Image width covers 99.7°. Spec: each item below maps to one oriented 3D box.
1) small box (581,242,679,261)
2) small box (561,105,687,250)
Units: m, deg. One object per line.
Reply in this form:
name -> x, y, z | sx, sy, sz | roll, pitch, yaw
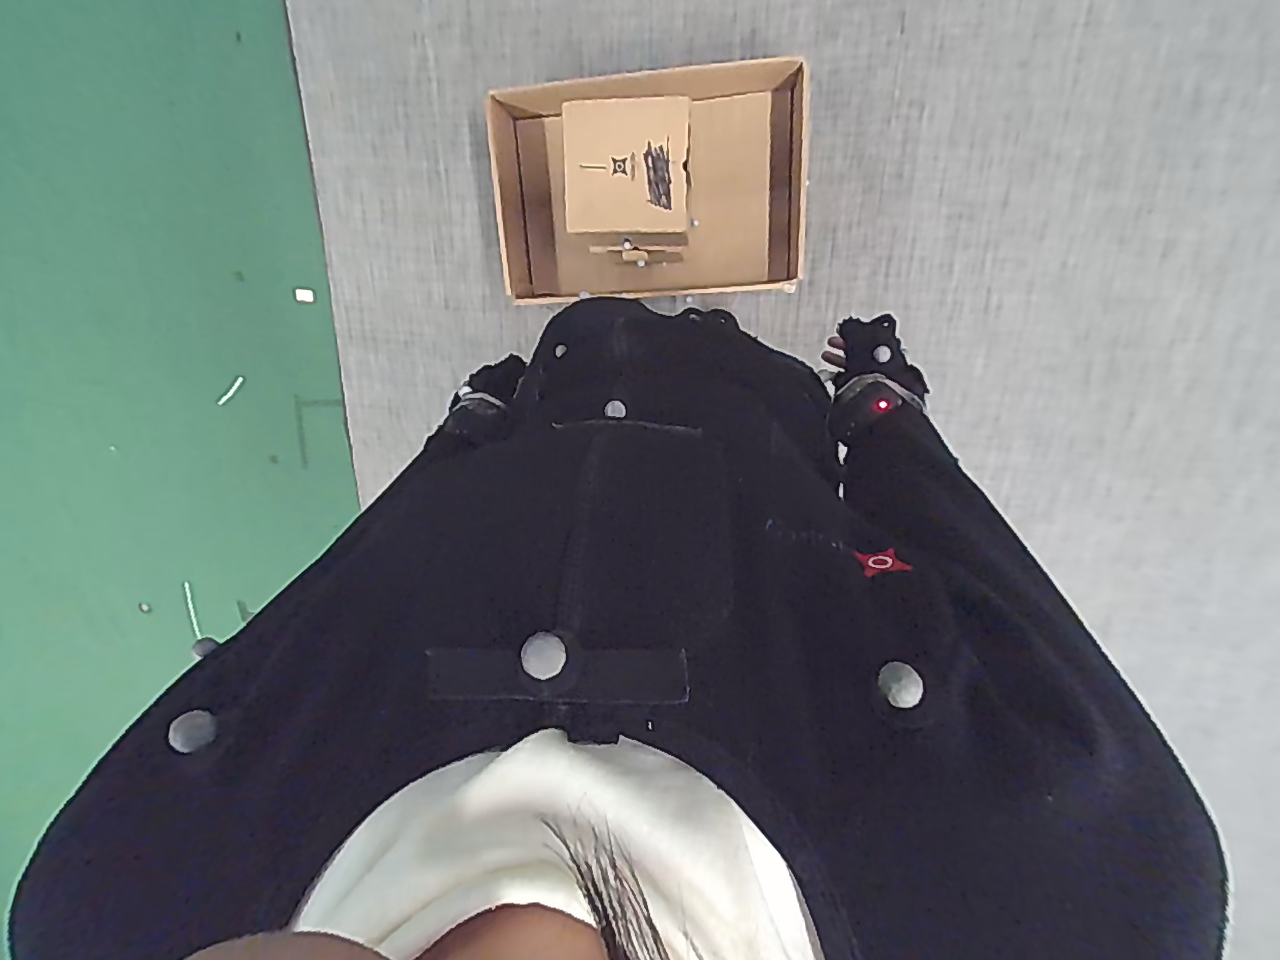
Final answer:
small box -> -0.011, -0.496, 0.982 | 0.168, 0.176, 0.179 | 3, 108, 5
small box -> -0.019, -0.457, 0.839 | 0.179, 0.176, 0.168 | 3, 106, 6
